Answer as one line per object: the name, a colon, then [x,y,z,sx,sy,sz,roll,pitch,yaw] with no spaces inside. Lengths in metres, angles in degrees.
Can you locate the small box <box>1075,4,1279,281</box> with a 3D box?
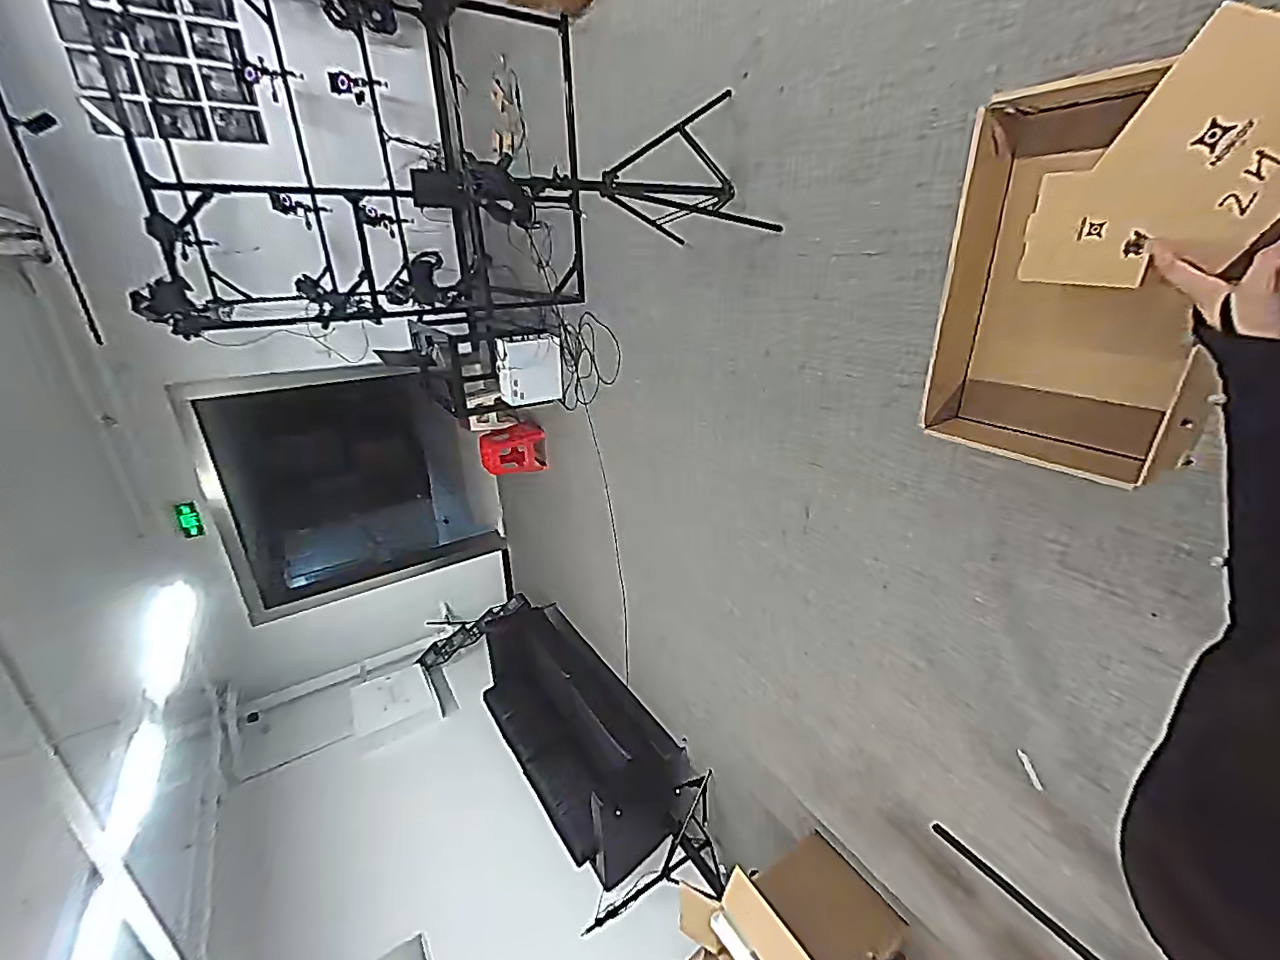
small box: [0.584,-0.301,0.504,0.168,0.176,0.179,109,150,-47]
